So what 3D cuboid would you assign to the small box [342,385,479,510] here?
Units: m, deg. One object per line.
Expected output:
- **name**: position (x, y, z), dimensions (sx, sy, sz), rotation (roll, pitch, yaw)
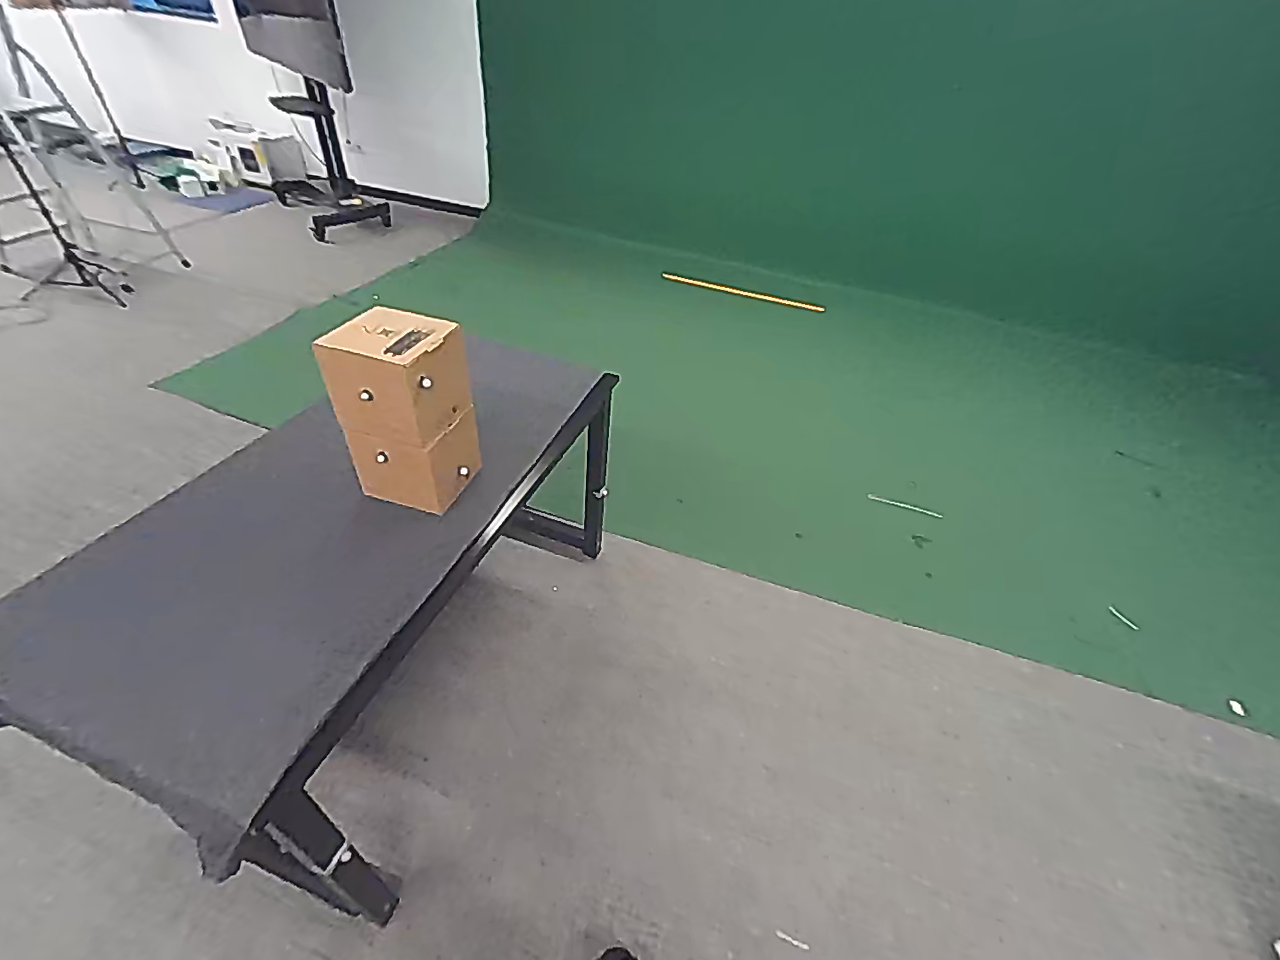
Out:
- **small box**: position (-0.442, -0.064, 1.071), dimensions (0.179, 0.176, 0.168), rotation (14, 41, 8)
